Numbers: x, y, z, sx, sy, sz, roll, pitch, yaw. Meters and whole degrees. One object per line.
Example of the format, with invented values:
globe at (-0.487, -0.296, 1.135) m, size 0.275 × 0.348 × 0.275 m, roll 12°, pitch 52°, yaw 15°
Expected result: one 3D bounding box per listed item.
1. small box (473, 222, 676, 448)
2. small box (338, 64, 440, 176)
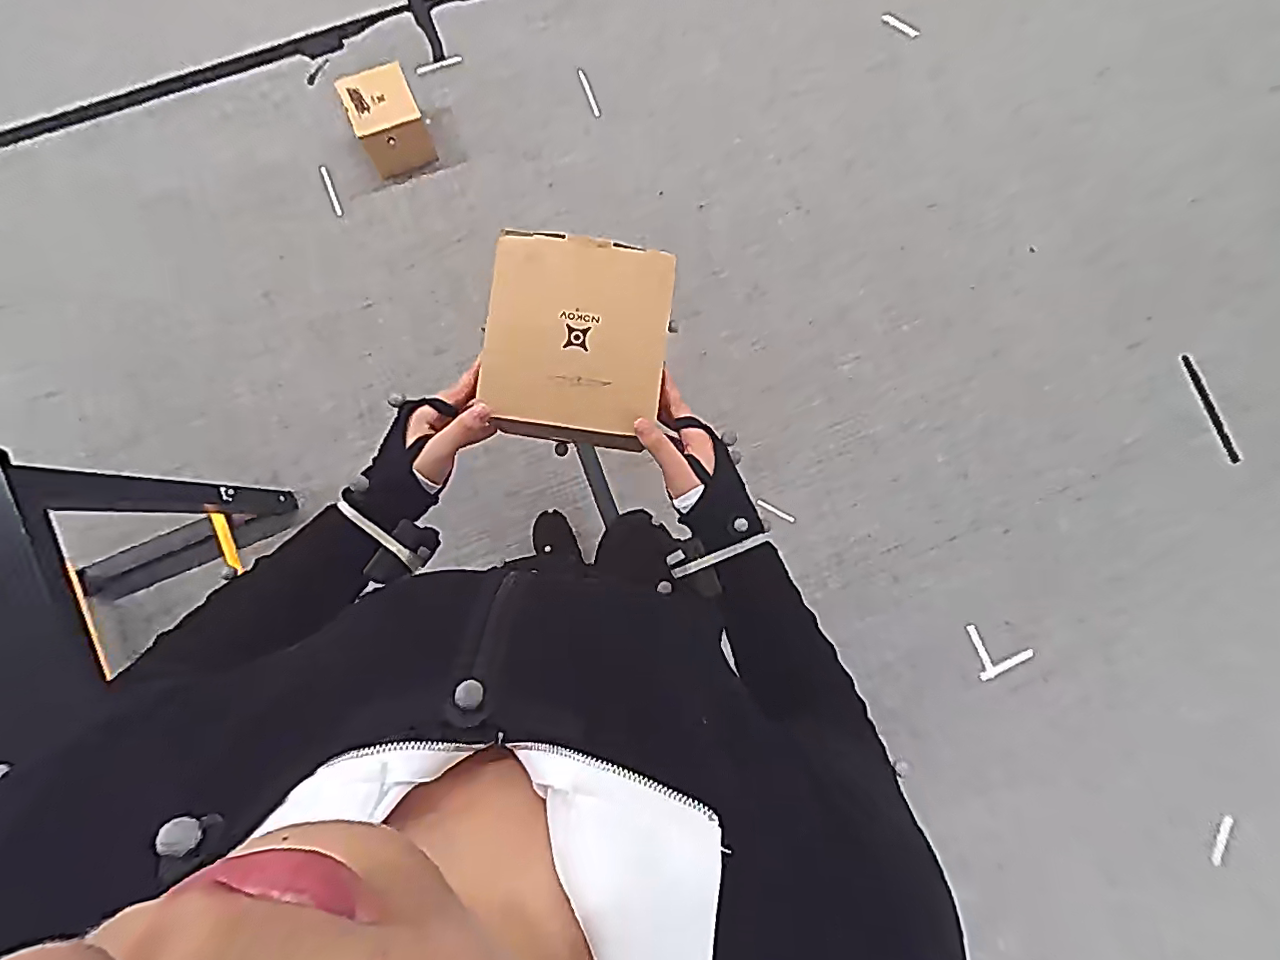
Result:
small box at (-0.064, -0.136, 0.571) m, size 0.168 × 0.176 × 0.179 m, roll 8°, pitch 89°, yaw -3°
small box at (-0.679, -0.975, 1.481) m, size 0.179 × 0.176 × 0.168 m, roll -23°, pitch 87°, yaw -6°
